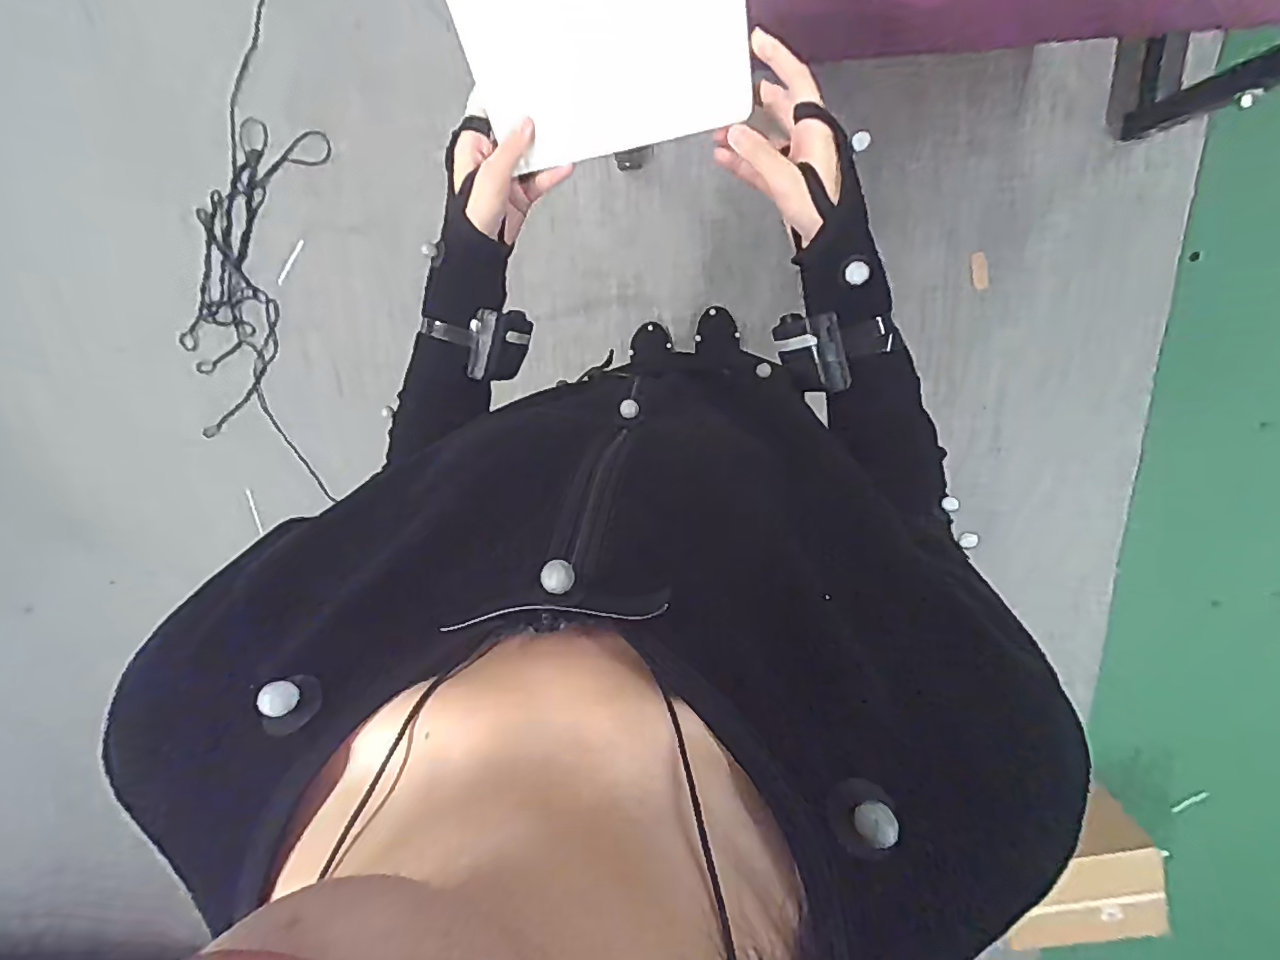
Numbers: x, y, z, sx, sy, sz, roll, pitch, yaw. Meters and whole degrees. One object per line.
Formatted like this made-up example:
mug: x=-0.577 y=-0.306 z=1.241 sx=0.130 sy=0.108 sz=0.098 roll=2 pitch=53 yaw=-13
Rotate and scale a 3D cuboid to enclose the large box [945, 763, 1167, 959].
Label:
large box: x=1.193 y=1.103 z=1.589 sx=0.408 sy=0.320 sz=0.320 roll=-16 pitch=105 yaw=8
